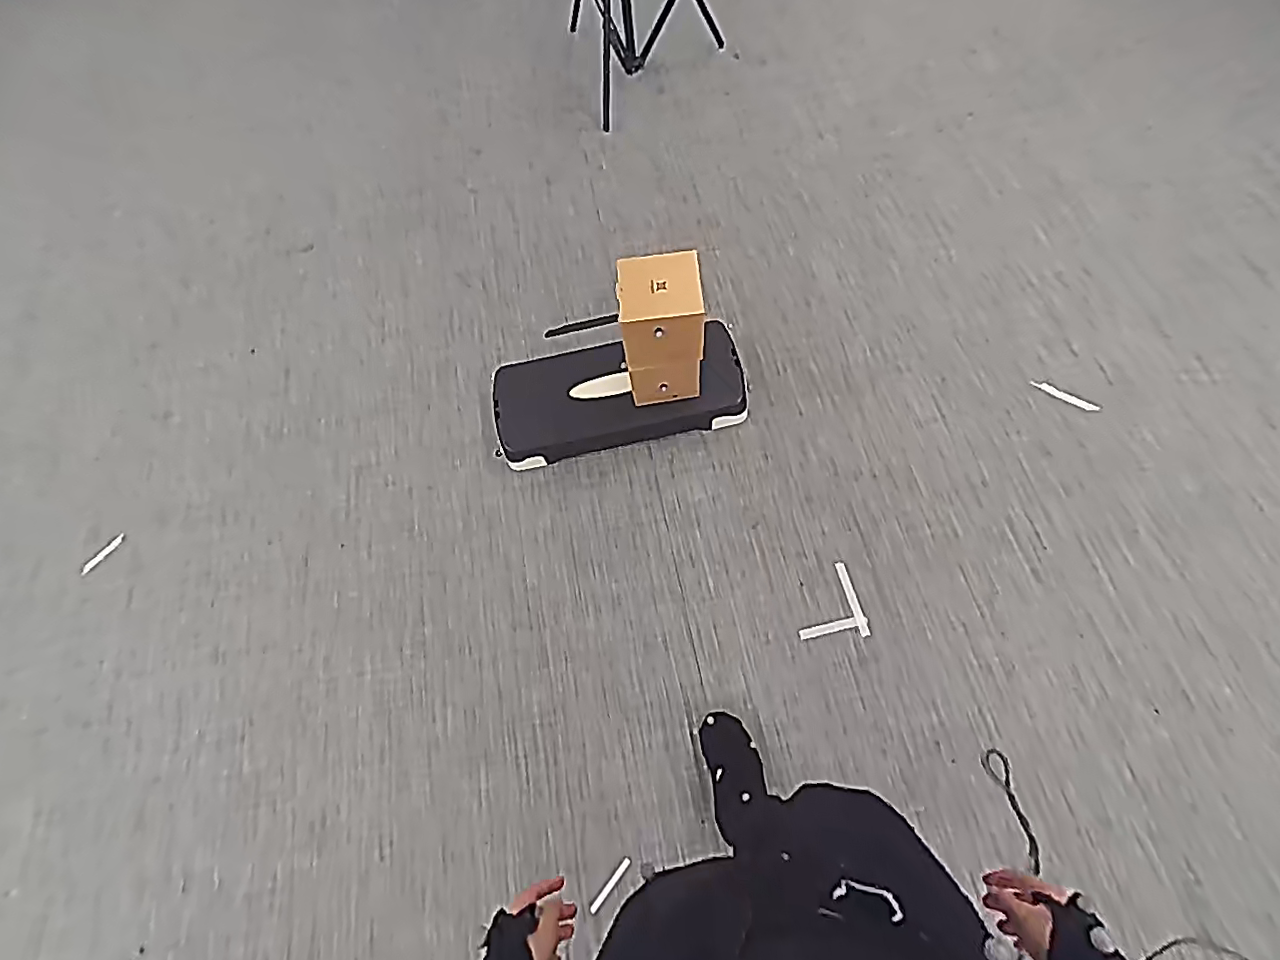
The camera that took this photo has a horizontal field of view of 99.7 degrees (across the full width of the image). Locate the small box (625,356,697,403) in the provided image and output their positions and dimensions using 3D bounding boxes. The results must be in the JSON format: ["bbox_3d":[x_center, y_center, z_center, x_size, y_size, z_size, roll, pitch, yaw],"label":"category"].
[{"bbox_3d":[0.049,-0.306,1.342,0.168,0.176,0.179,-8,68,2],"label":"small box"}]

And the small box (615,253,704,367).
[{"bbox_3d":[0.045,-0.367,1.191,0.179,0.176,0.168,-6,69,4],"label":"small box"}]
